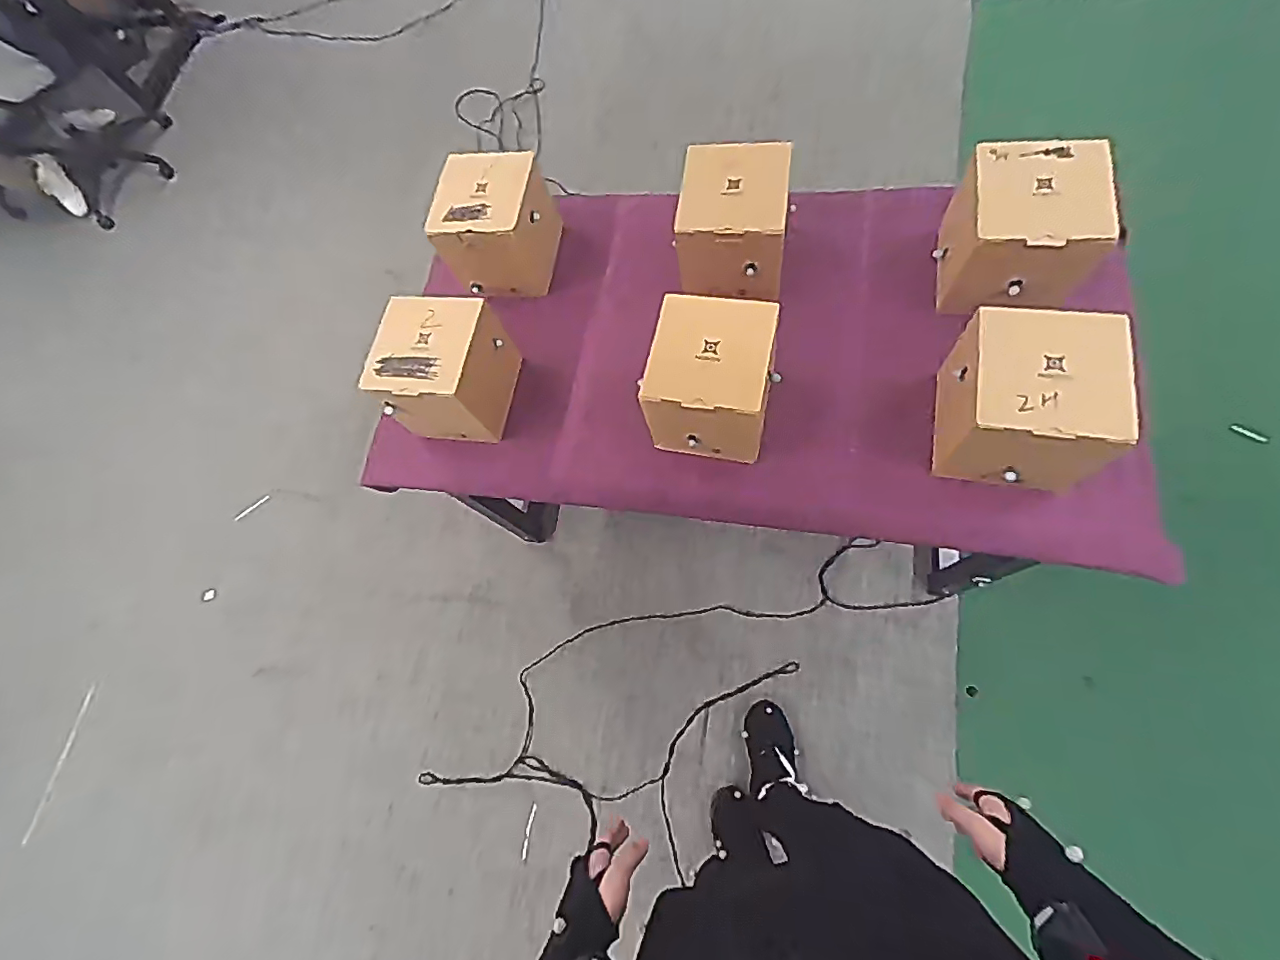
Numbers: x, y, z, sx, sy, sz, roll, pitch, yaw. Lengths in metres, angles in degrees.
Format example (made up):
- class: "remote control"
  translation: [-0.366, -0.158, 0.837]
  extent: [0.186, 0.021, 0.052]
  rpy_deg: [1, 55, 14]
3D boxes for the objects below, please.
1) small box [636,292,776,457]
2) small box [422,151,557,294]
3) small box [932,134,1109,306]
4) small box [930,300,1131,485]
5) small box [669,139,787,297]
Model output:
- class: "small box"
  translation: [0.103, -0.154, 0.816]
  extent: [0.168, 0.176, 0.179]
  rpy_deg: [9, 73, 13]
- class: "small box"
  translation: [-0.263, -0.461, 0.989]
  extent: [0.168, 0.176, 0.179]
  rpy_deg: [4, 72, 12]
- class: "small box"
  translation: [0.552, -0.374, 0.806]
  extent: [0.168, 0.176, 0.179]
  rpy_deg: [6, 73, 13]
- class: "small box"
  translation: [0.502, -0.111, 0.721]
  extent: [0.168, 0.176, 0.179]
  rpy_deg: [8, 72, 15]
- class: "small box"
  translation: [0.150, -0.427, 0.902]
  extent: [0.168, 0.176, 0.179]
  rpy_deg: [6, 72, 12]
